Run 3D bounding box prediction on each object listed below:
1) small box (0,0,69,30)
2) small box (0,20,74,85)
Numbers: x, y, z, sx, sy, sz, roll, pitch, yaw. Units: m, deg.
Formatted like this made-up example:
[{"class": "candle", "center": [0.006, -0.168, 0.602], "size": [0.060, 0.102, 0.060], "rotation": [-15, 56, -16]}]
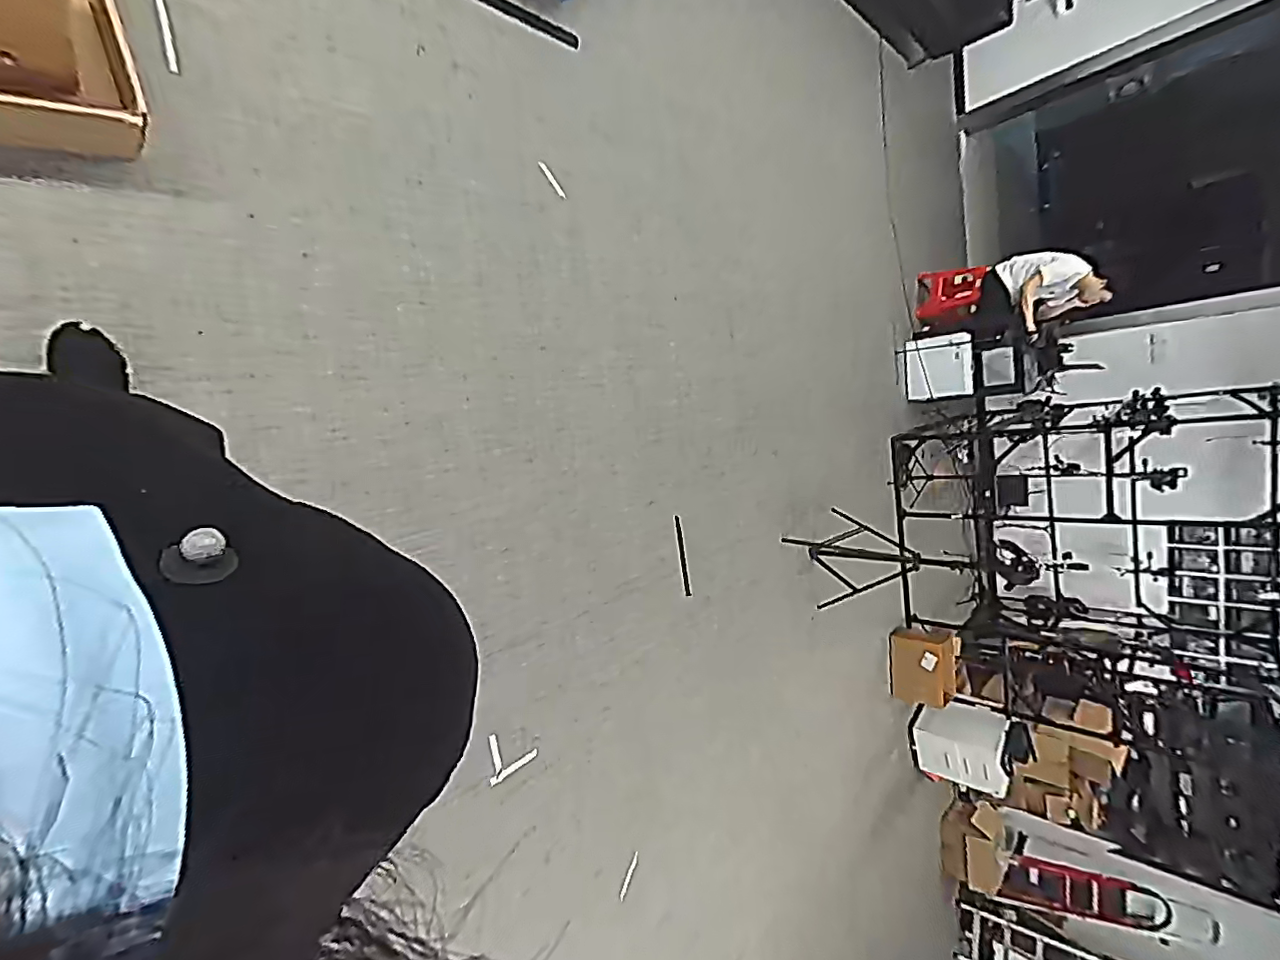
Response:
[{"class": "small box", "center": [-0.975, -0.807, 0.785], "size": [0.179, 0.176, 0.168], "rotation": [-19, 103, -42]}, {"class": "small box", "center": [-1.087, -0.809, 0.903], "size": [0.168, 0.176, 0.179], "rotation": [-19, 102, -44]}]
